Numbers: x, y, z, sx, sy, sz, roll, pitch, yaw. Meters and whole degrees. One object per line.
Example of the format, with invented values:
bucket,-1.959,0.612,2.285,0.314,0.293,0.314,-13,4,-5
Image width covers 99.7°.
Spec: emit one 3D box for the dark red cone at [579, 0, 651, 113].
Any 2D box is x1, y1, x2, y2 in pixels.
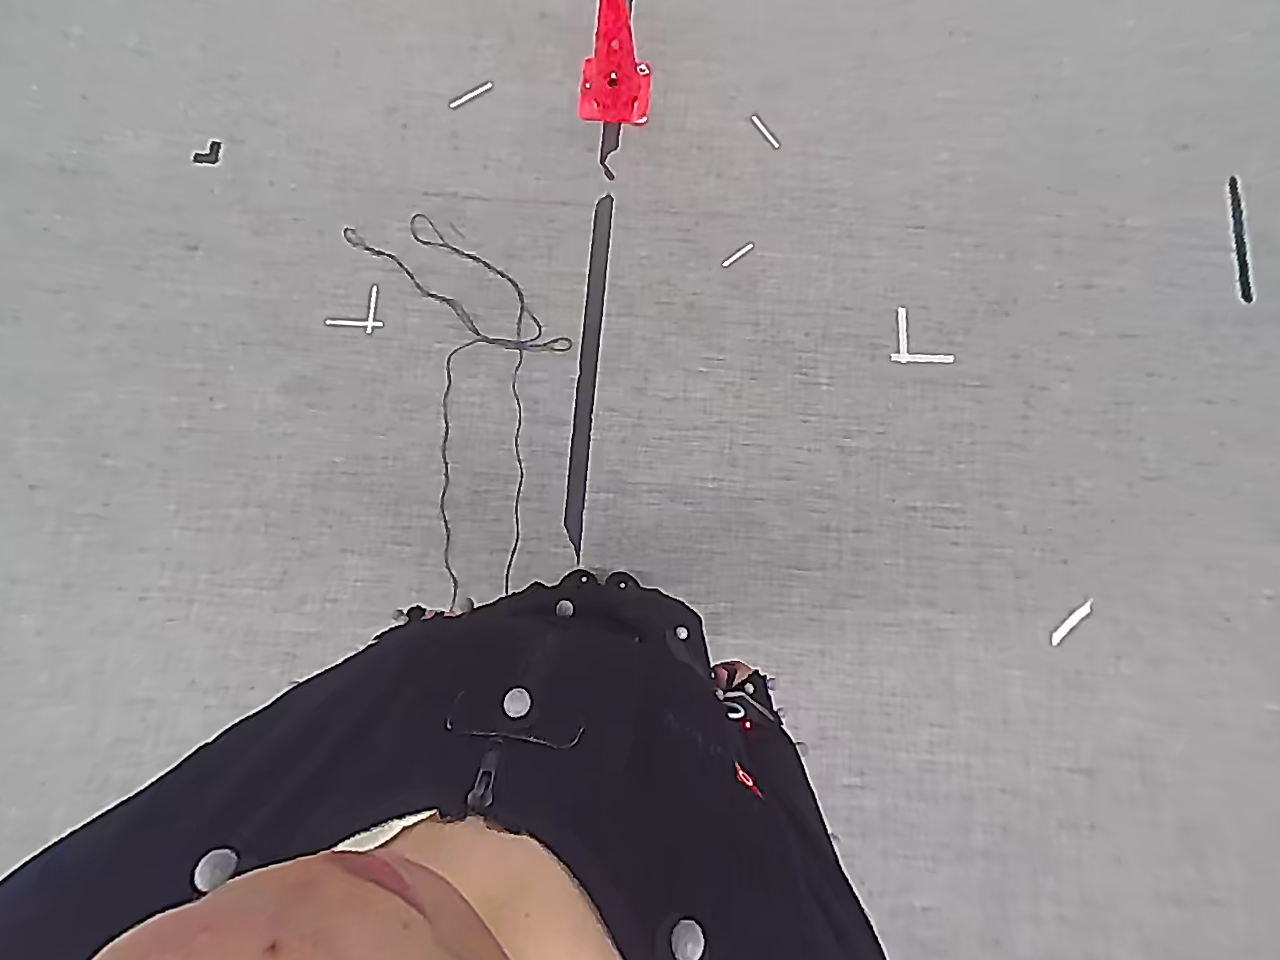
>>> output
dark red cone,-0.069,-1.160,1.373,0.201,0.394,0.202,3,83,0
